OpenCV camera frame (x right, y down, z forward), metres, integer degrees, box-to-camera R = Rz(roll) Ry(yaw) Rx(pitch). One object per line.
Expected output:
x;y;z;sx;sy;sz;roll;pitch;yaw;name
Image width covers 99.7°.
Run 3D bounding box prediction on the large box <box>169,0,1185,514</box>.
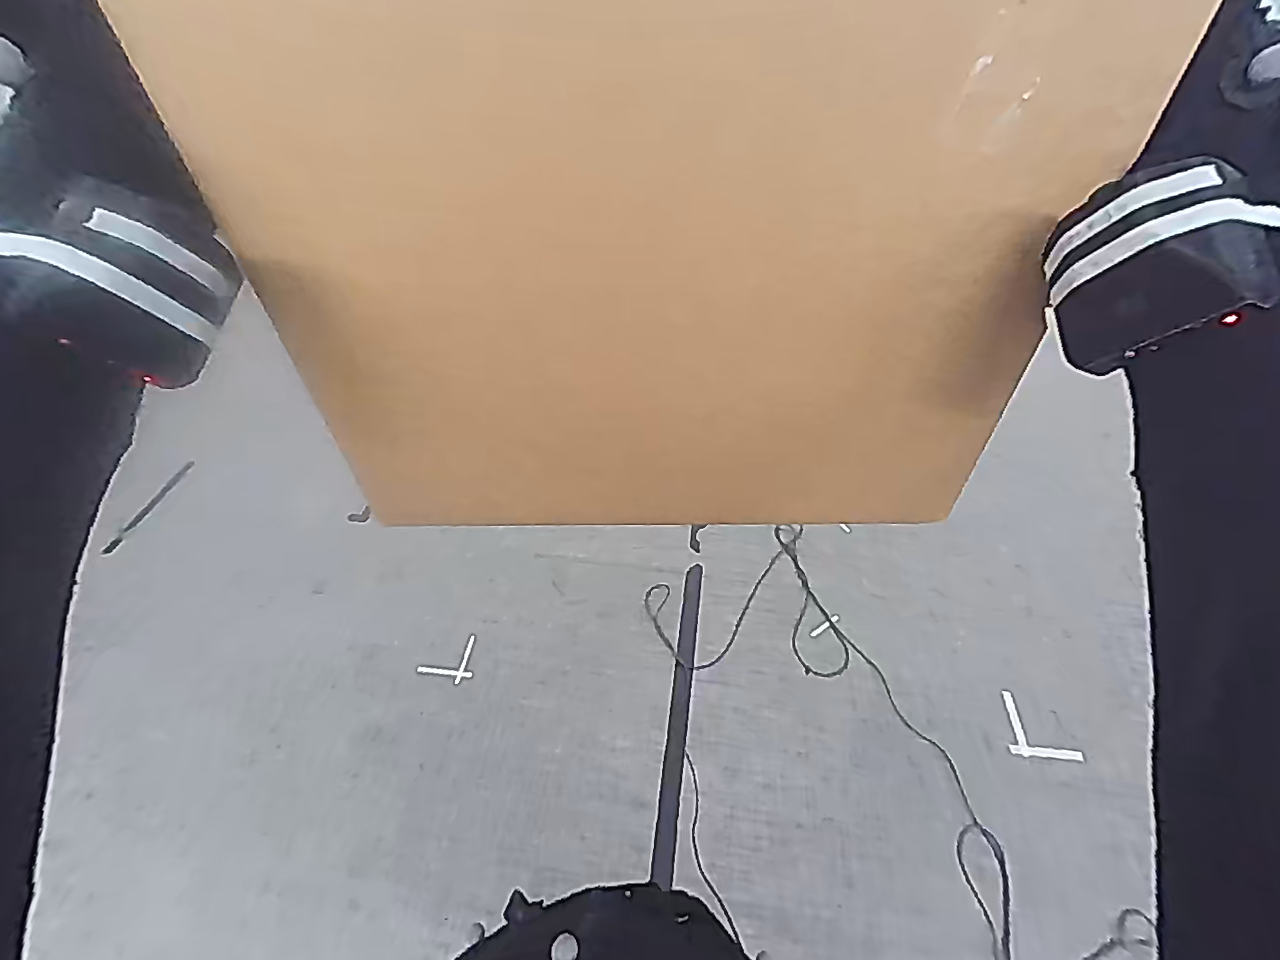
0.014;-0.187;0.402;0.408;0.320;0.320;0;43;1;large box
